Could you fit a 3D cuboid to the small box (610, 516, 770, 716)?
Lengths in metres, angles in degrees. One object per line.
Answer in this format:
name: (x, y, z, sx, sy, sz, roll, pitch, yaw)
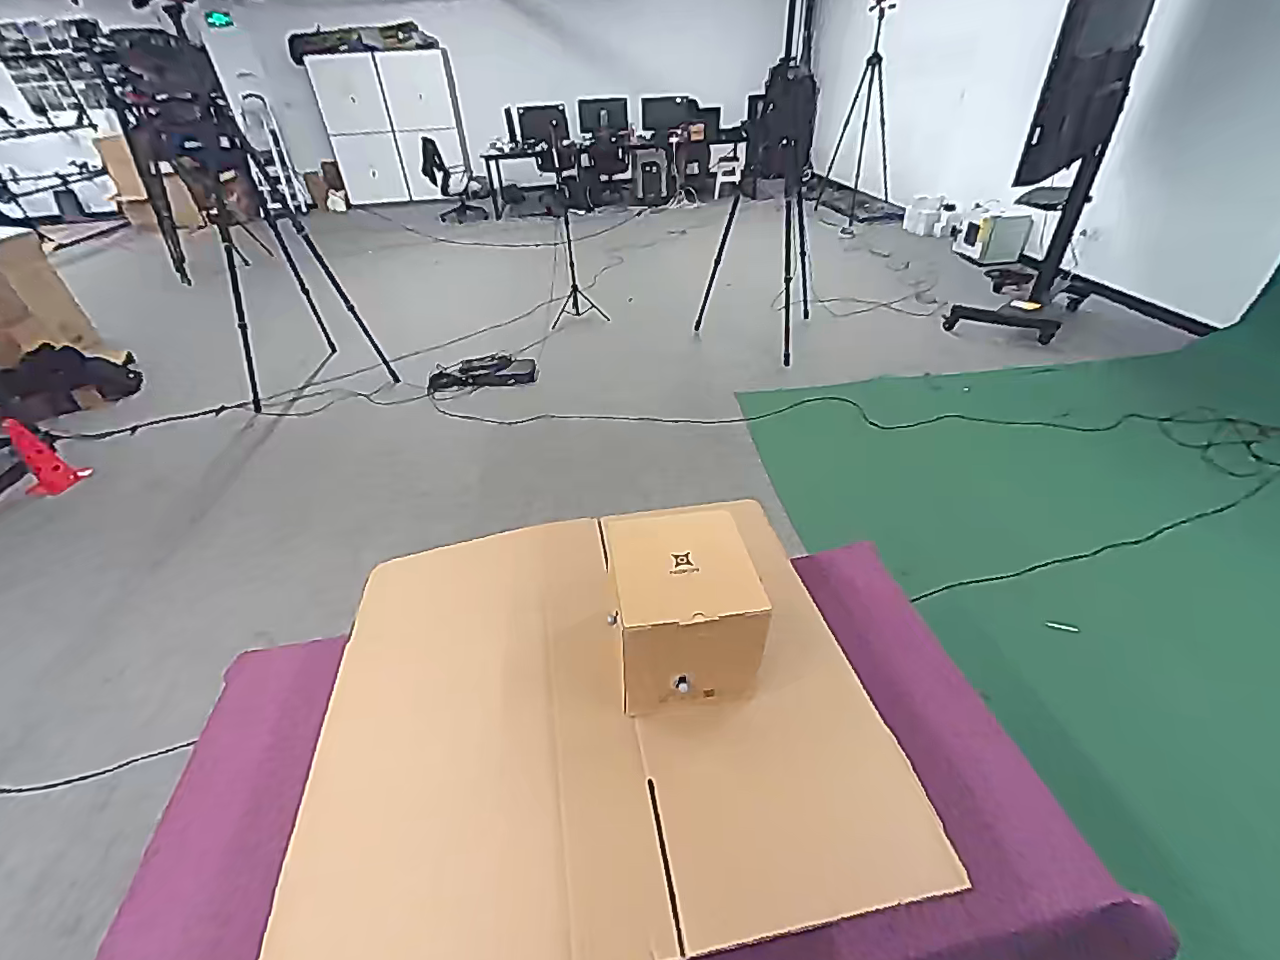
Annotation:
small box: (0.051, 0.171, 0.695, 0.168, 0.176, 0.179, -6, 38, -6)
